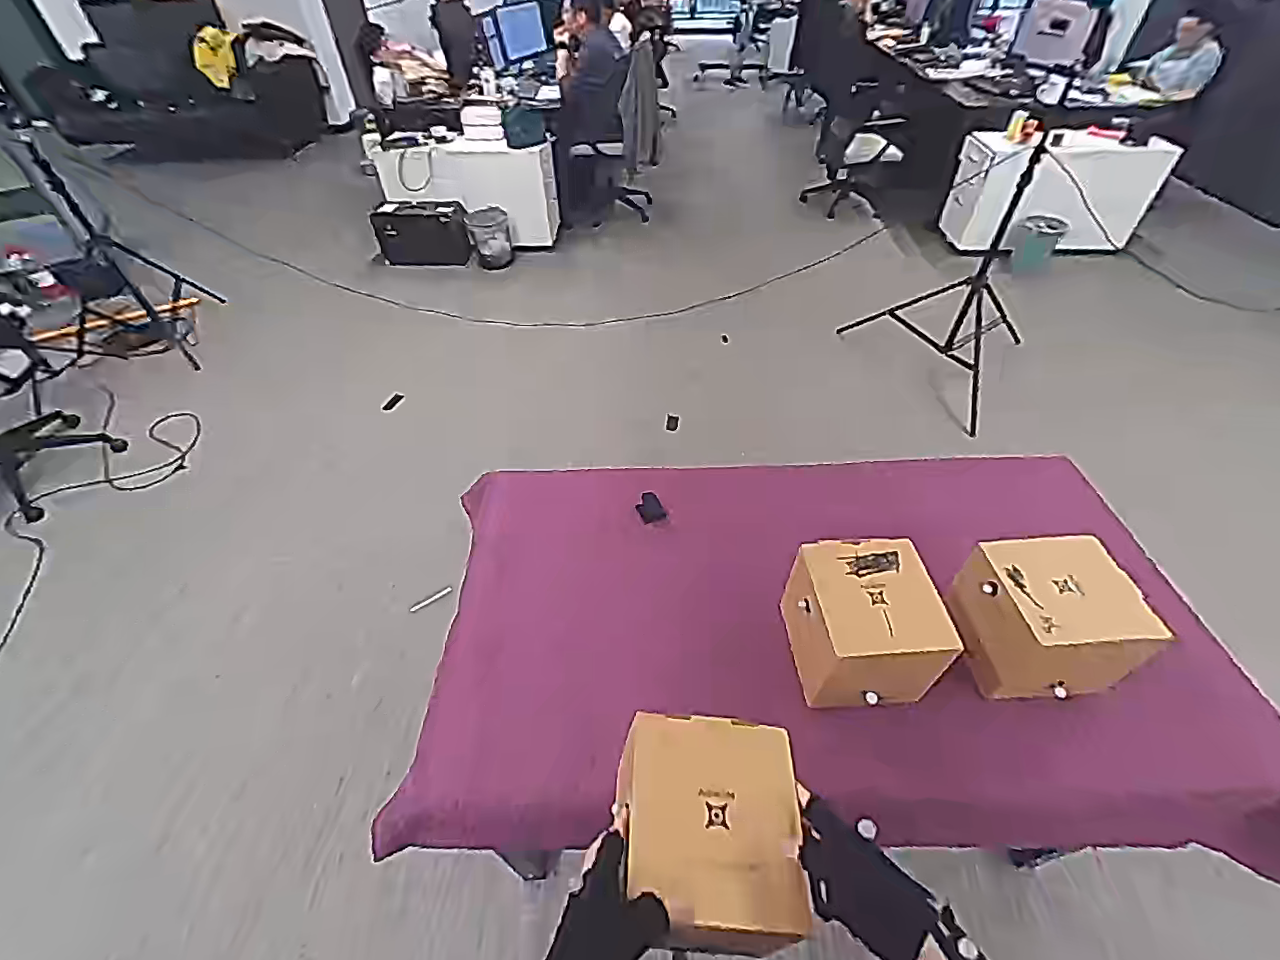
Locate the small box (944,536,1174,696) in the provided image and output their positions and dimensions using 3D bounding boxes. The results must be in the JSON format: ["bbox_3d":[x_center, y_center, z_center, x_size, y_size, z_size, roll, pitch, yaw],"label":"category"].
[{"bbox_3d":[0.584,0.199,0.787,0.179,0.176,0.168,-3,45,-1],"label":"small box"}]

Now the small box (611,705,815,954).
[{"bbox_3d":[0.062,0.366,0.568,0.168,0.176,0.179,7,43,-2],"label":"small box"}]

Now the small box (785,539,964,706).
[{"bbox_3d":[0.320,0.207,0.786,0.168,0.176,0.179,-3,46,-2],"label":"small box"}]
